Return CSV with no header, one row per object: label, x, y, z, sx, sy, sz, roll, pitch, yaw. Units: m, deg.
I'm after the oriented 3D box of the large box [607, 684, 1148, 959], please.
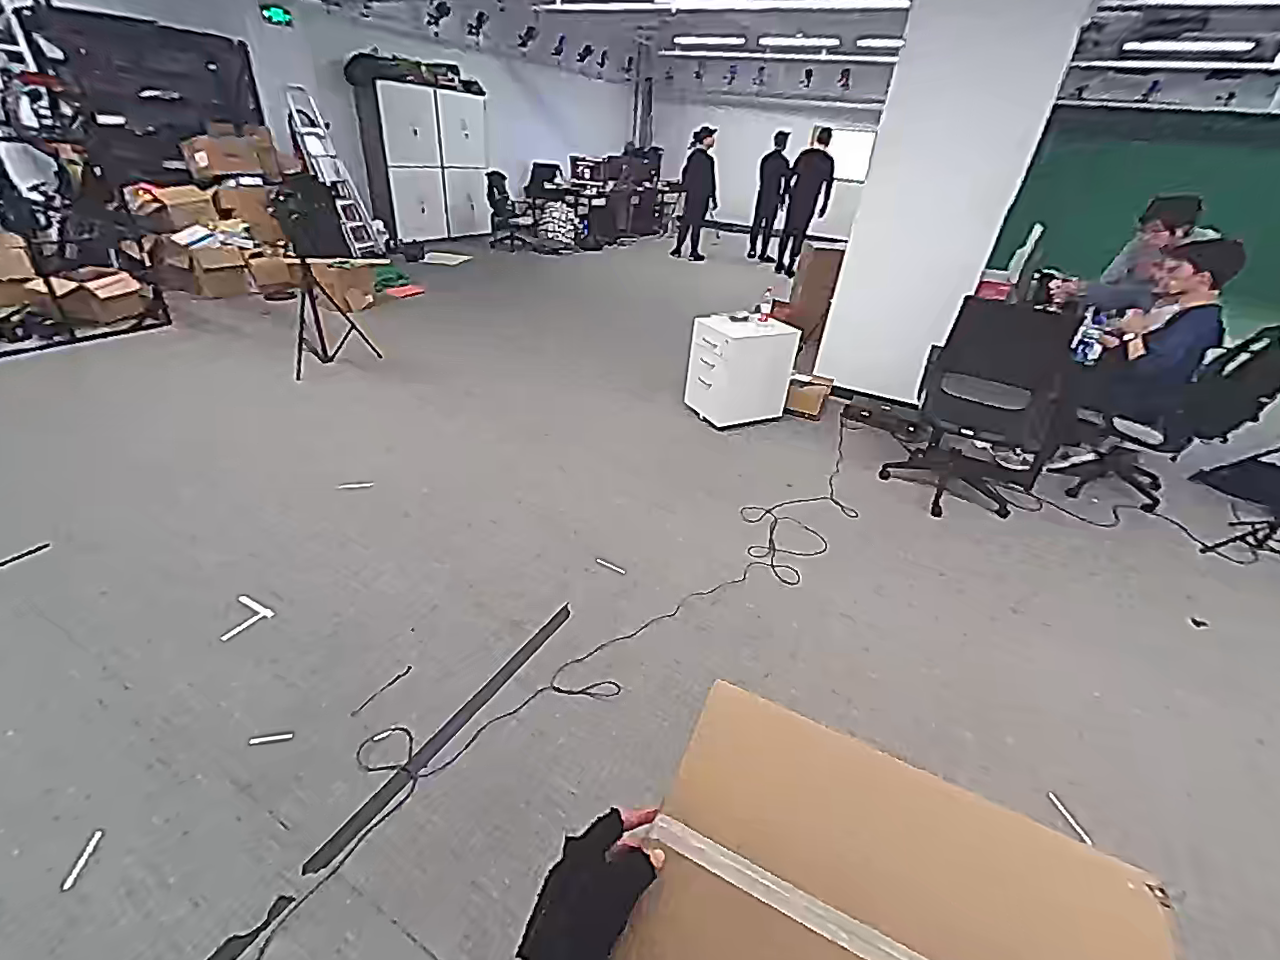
large box,0.192,0.485,0.544,0.408,0.320,0.320,19,46,17
